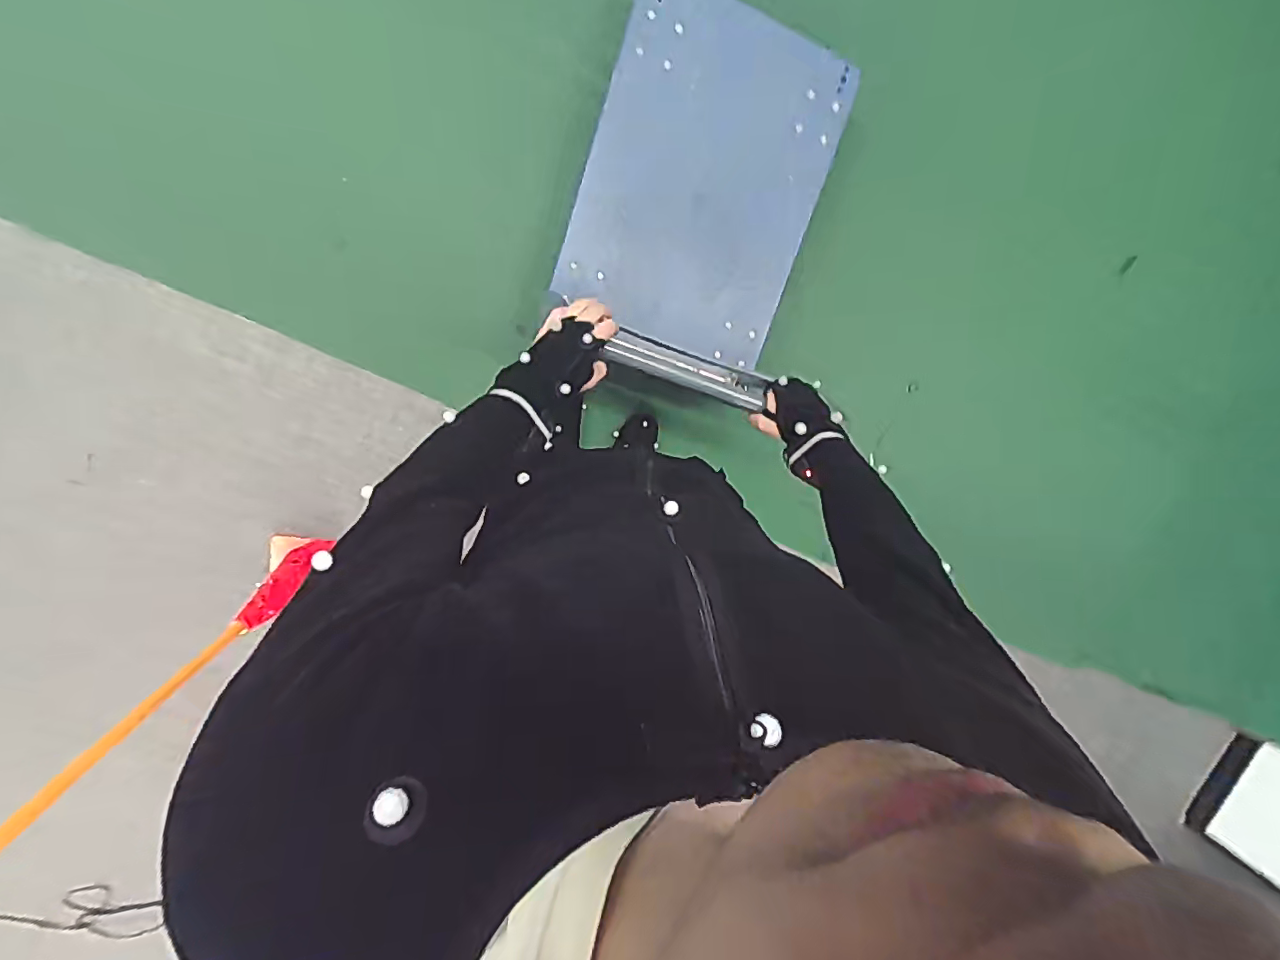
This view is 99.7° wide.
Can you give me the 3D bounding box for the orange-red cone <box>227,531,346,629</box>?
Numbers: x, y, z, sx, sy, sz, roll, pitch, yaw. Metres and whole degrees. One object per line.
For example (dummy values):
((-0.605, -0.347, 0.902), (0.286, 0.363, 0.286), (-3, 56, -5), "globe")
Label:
((-0.937, 0.286, 1.389), (0.199, 0.360, 0.198), (9, 100, -9), "orange-red cone")
